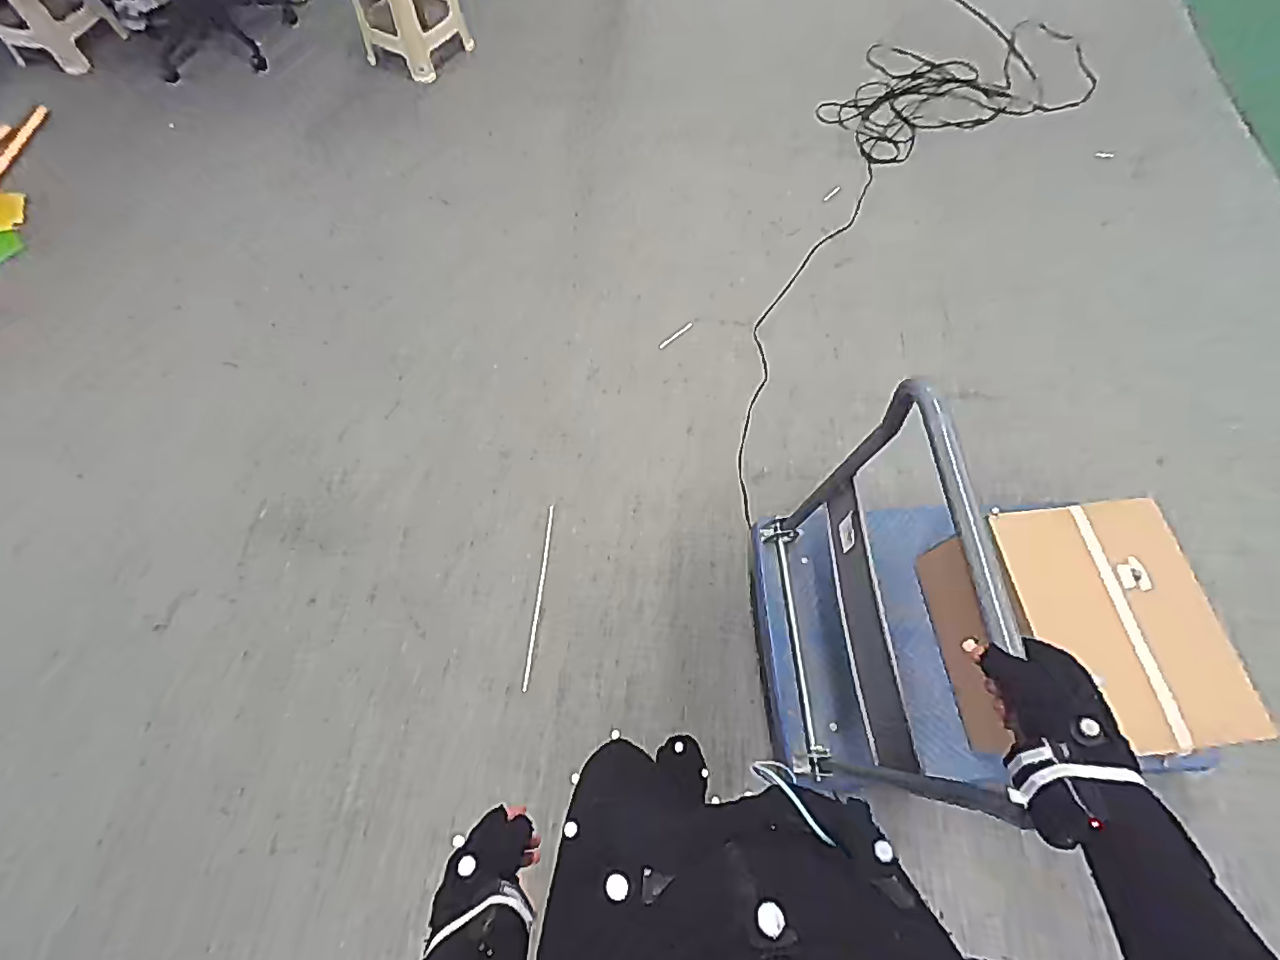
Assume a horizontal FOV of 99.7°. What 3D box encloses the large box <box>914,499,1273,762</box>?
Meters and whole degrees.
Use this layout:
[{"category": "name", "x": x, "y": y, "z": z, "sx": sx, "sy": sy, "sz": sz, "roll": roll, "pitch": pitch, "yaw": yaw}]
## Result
[{"category": "large box", "x": 0.796, "y": 0.292, "z": 1.034, "sx": 0.320, "sy": 0.320, "sz": 0.408, "roll": -6, "pitch": 65, "yaw": -2}]
